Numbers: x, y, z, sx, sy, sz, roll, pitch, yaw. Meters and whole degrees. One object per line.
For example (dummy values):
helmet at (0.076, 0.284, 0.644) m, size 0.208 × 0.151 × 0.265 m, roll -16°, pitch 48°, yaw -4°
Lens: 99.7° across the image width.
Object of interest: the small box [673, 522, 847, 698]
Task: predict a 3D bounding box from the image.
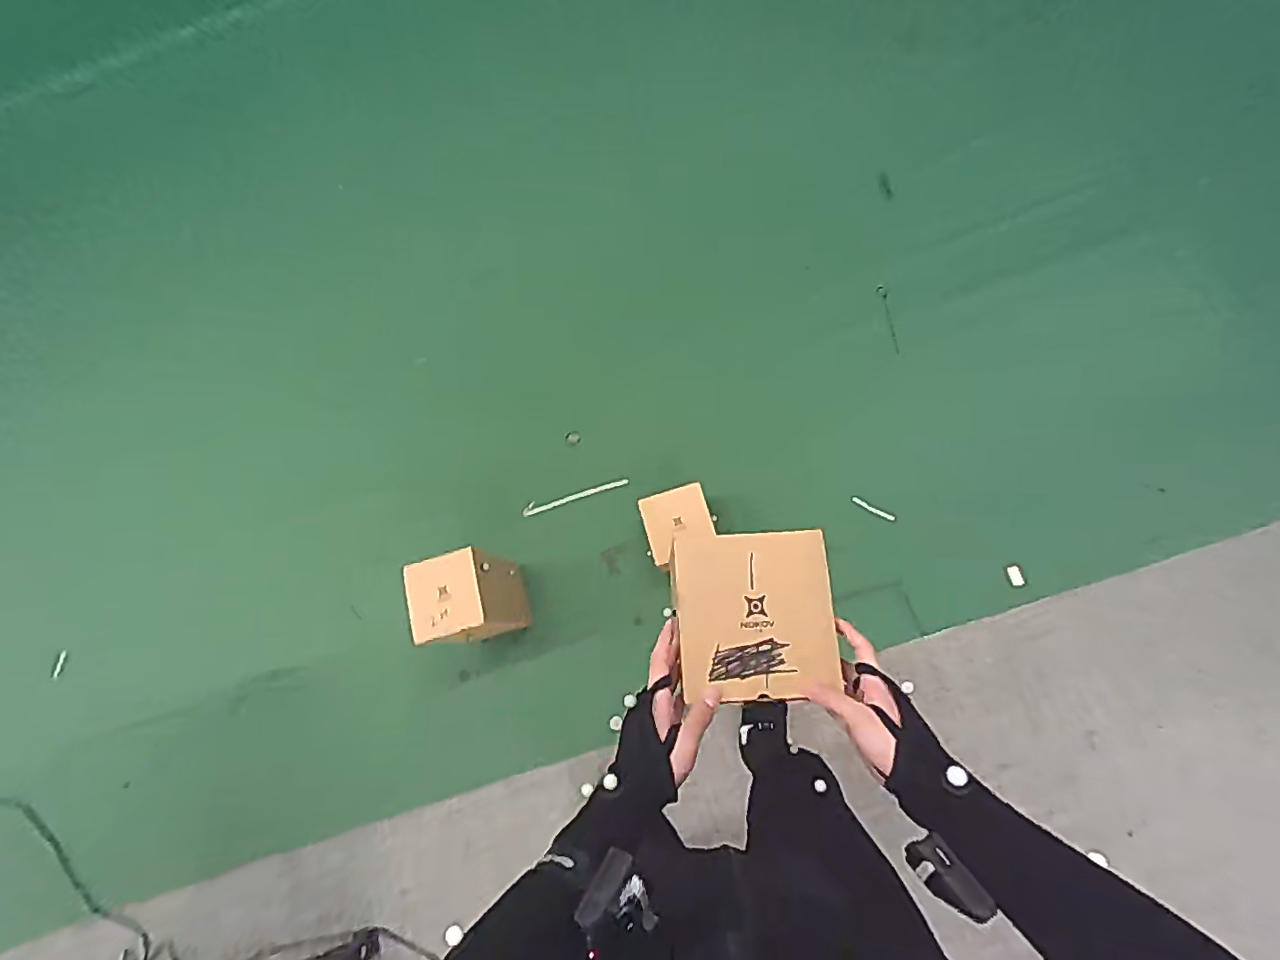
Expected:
small box at (0.127, 0.153, 0.643) m, size 0.168 × 0.176 × 0.179 m, roll -3°, pitch 75°, yaw 0°

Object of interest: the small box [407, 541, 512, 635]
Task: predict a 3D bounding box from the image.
small box at (-0.417, 0.258, 1.268) m, size 0.168 × 0.176 × 0.179 m, roll -16°, pitch 74°, yaw 3°

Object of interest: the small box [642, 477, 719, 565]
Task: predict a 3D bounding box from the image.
small box at (0.109, 0.113, 1.415) m, size 0.168 × 0.176 × 0.179 m, roll -17°, pitch 75°, yaw 2°
